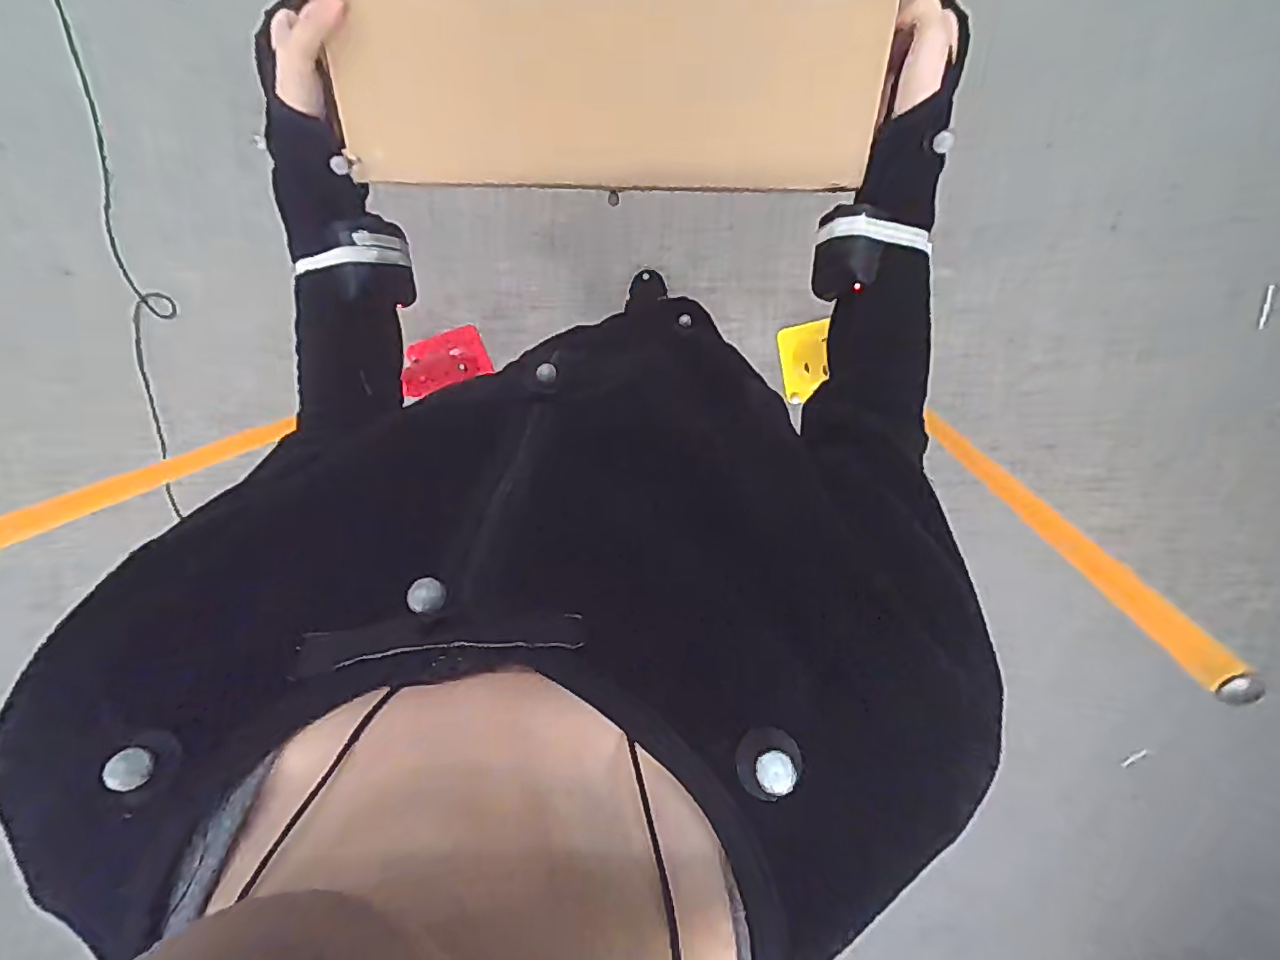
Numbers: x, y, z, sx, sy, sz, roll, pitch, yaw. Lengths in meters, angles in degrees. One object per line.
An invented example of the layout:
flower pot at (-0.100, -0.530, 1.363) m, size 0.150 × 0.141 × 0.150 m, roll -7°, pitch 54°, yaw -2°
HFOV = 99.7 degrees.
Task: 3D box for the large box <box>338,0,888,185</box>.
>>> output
large box at (-0.019, -0.454, 0.499) m, size 0.408 × 0.320 × 0.320 m, roll 0°, pitch 118°, yaw -2°
